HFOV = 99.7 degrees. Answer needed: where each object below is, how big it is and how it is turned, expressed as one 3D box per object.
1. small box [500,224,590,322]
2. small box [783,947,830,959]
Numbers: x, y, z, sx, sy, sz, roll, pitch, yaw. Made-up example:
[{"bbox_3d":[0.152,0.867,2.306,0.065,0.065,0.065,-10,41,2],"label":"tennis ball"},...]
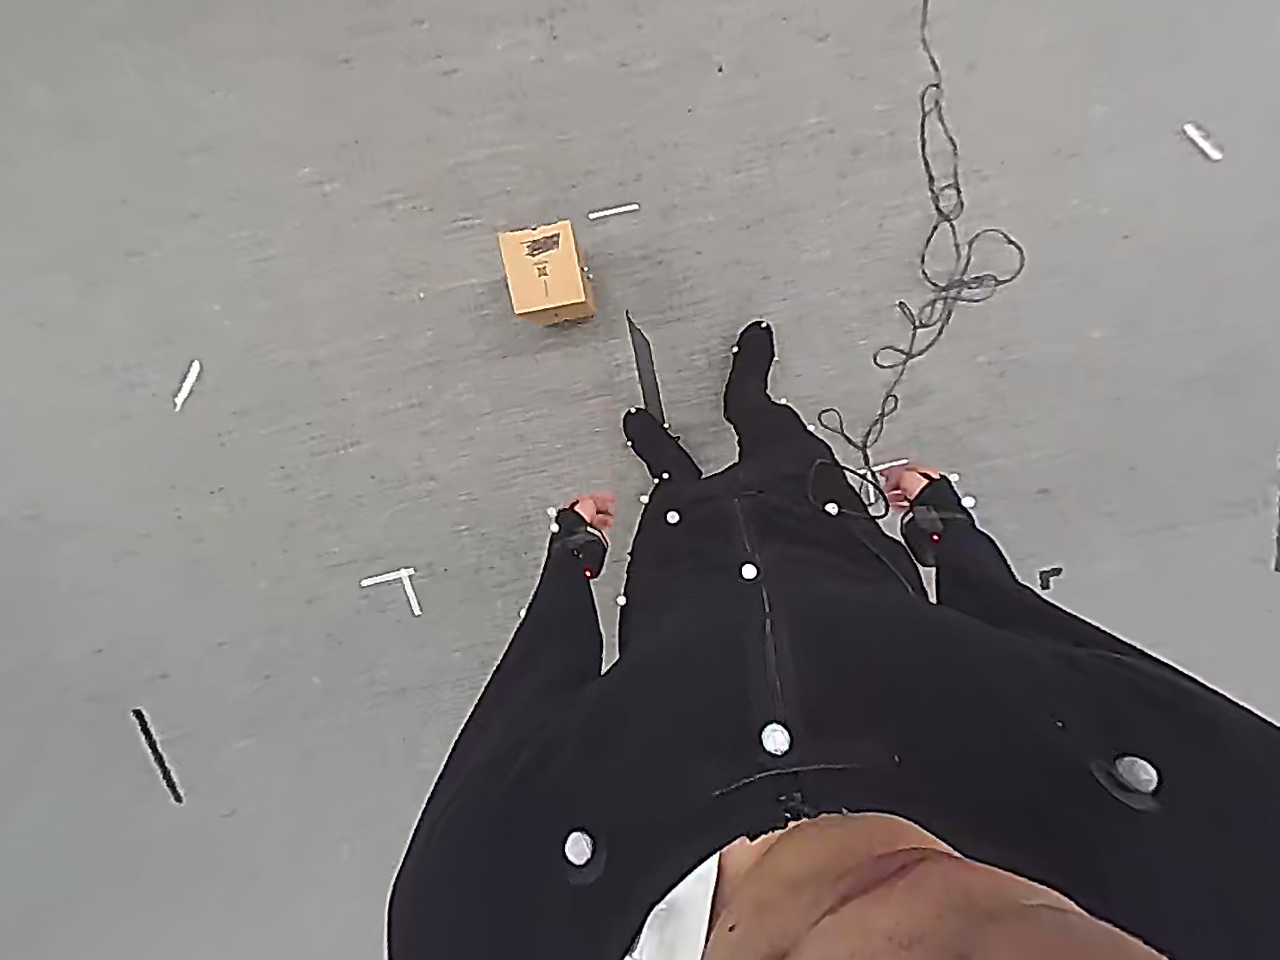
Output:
[{"bbox_3d":[-0.218,-0.483,1.283,0.168,0.176,0.179,-10,101,2],"label":"small box"},{"bbox_3d":[0.608,1.784,1.874,0.168,0.176,0.179,-14,100,1],"label":"small box"}]
